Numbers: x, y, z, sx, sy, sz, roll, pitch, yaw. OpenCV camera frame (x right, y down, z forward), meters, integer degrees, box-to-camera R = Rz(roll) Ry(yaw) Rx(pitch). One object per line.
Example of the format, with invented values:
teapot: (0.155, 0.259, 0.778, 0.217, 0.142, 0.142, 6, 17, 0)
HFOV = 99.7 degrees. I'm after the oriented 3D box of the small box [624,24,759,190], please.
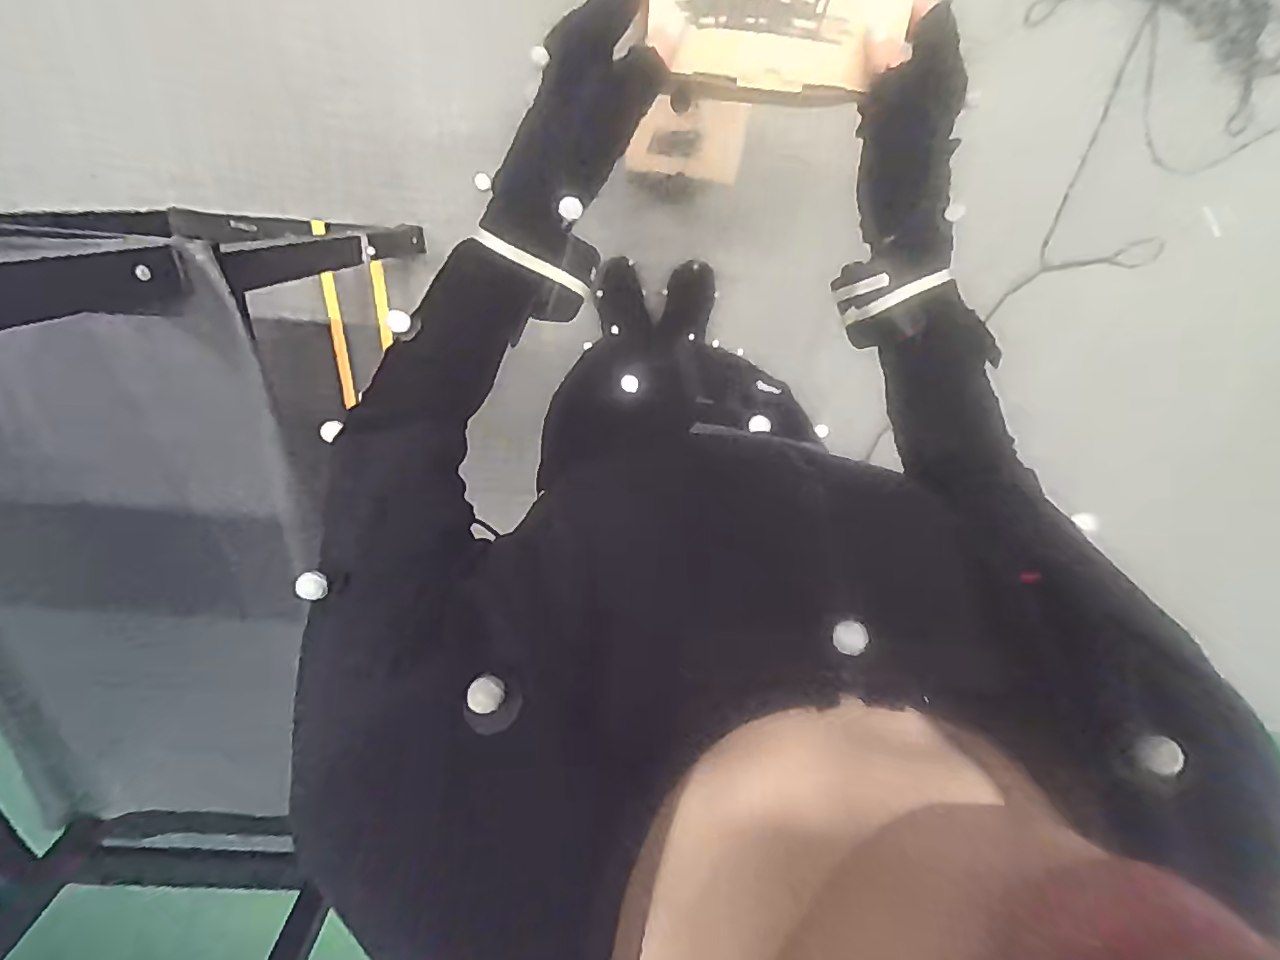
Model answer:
small box: (0.070, -0.555, 0.832, 0.168, 0.176, 0.179, 7, 116, -4)
